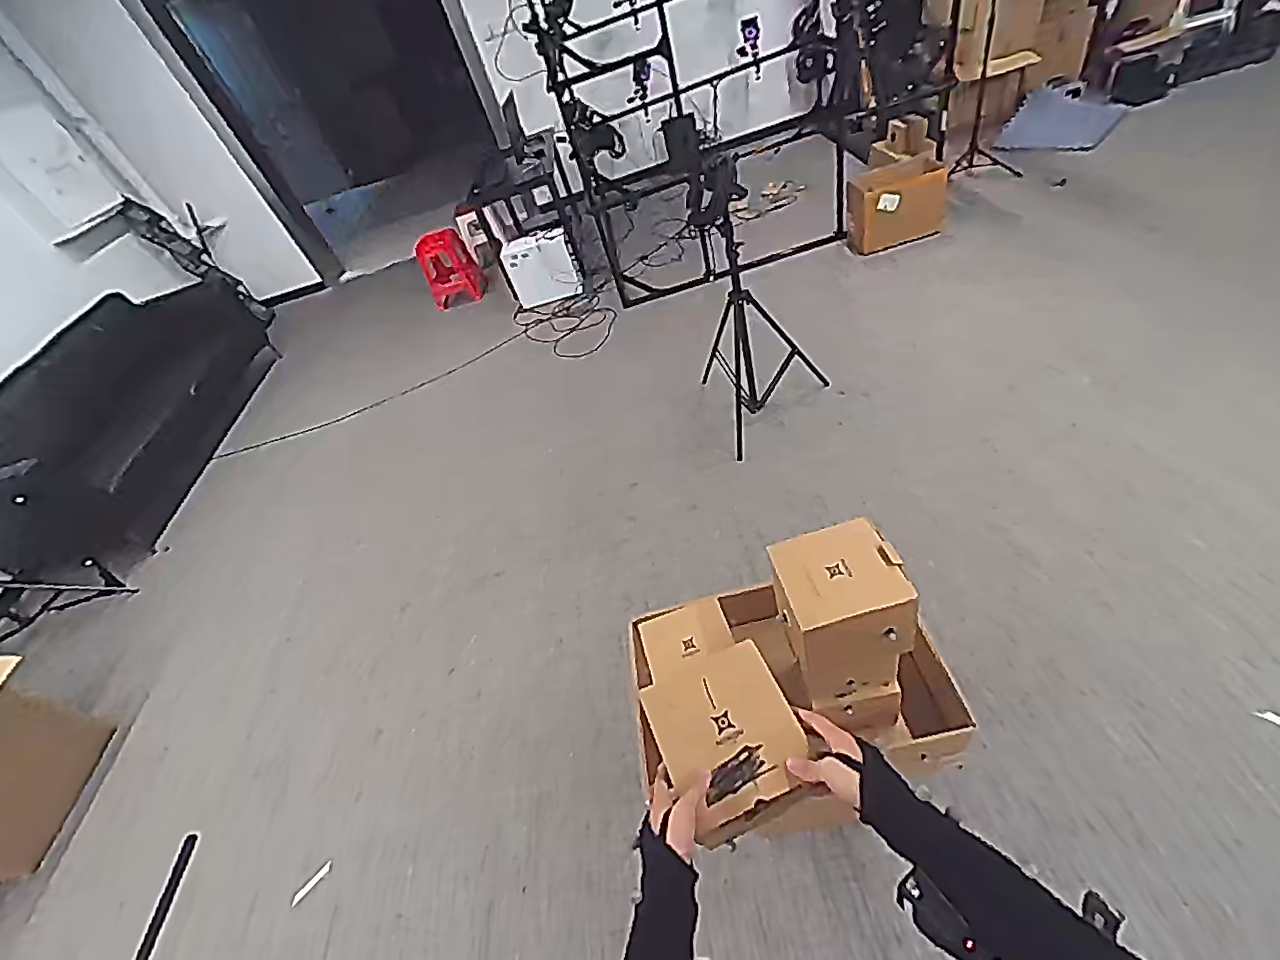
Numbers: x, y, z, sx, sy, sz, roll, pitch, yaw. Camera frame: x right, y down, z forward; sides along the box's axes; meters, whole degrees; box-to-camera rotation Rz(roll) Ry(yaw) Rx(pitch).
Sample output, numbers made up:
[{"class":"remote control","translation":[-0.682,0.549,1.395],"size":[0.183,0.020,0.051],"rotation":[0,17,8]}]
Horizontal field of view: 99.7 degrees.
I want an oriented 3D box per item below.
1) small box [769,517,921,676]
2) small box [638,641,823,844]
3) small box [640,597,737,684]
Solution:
[{"class":"small box","translation":[0.326,0.194,0.884],"size":[0.179,0.176,0.168],"rotation":[-18,43,5]},{"class":"small box","translation":[0.116,0.346,0.702],"size":[0.168,0.176,0.179],"rotation":[-23,50,-5]},{"class":"small box","translation":[0.114,0.364,1.042],"size":[0.168,0.176,0.179],"rotation":[-21,44,2]}]
